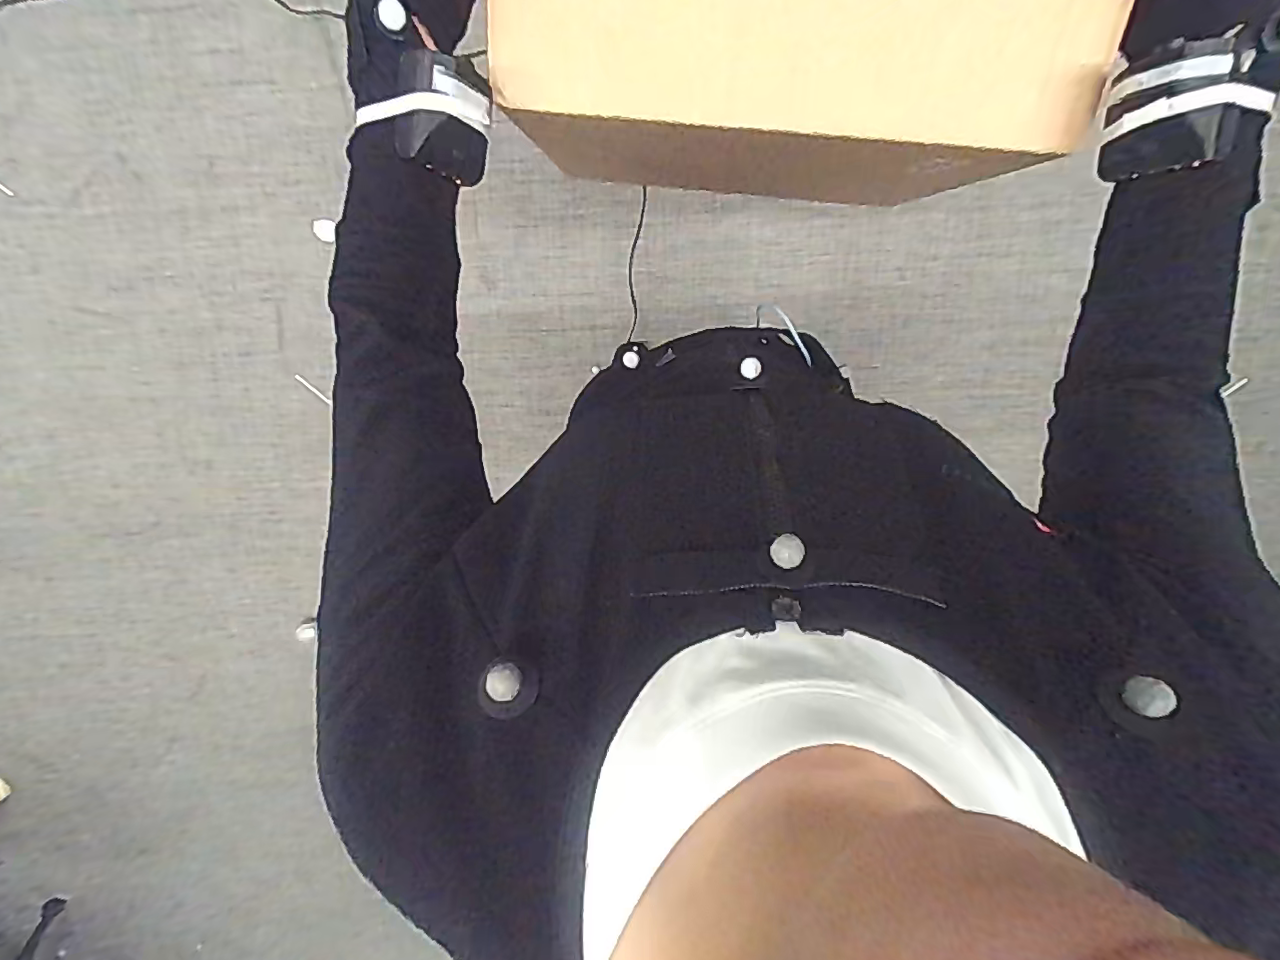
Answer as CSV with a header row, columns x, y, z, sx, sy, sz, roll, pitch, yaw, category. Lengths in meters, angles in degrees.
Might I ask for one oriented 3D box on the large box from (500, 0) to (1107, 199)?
x,y,z,sx,sy,sz,roll,pitch,yaw,category
0.112,-0.443,0.466,0.408,0.320,0.320,4,111,1,large box
